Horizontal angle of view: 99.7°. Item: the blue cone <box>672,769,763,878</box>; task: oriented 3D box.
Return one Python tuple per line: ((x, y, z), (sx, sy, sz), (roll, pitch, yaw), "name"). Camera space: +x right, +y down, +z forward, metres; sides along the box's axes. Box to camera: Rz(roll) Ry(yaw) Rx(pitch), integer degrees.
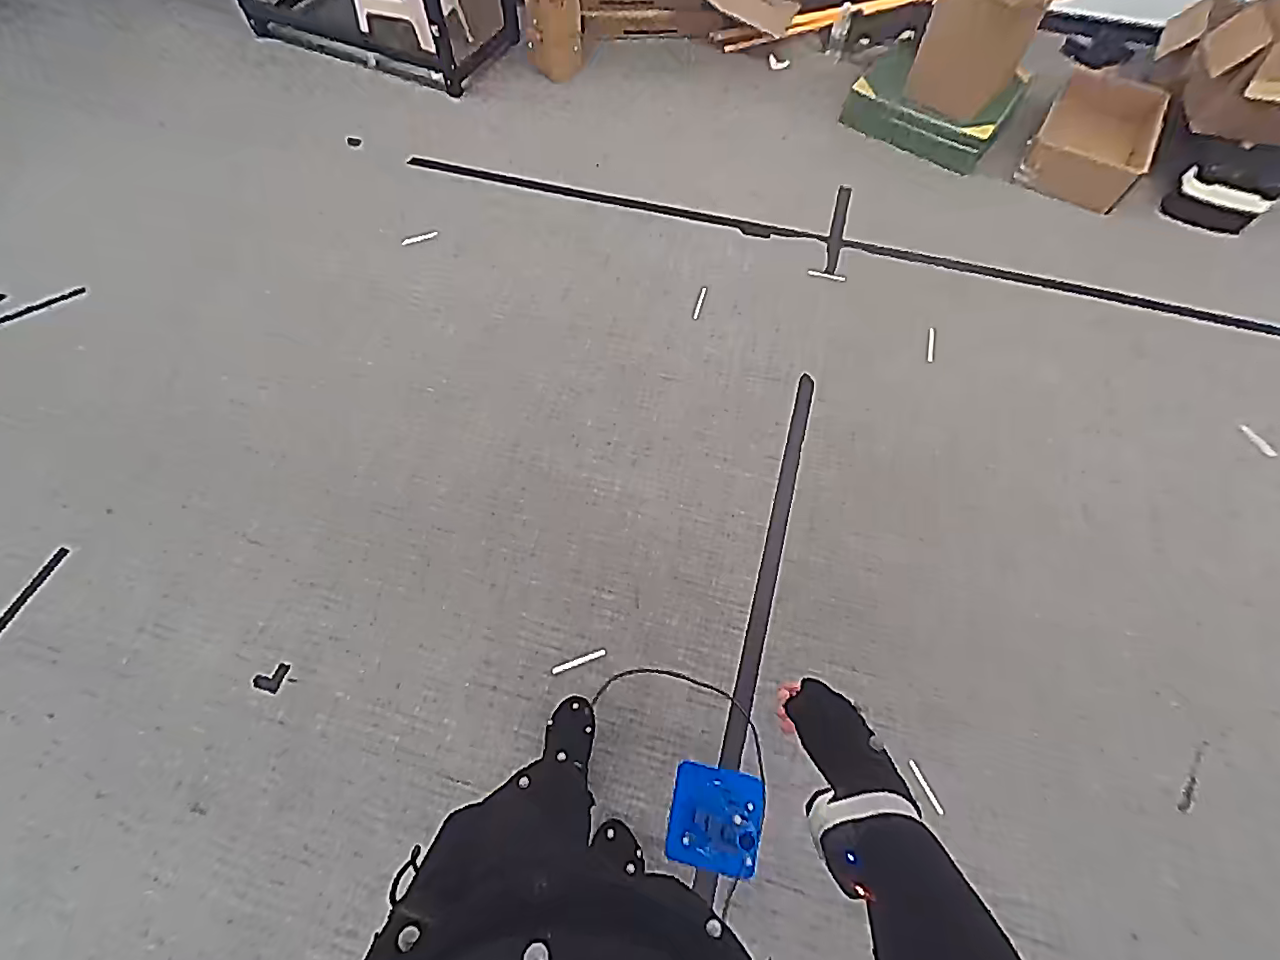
((0.175, 0.679, 1.036), (0.192, 0.380, 0.193), (10, 64, 4), "blue cone")
